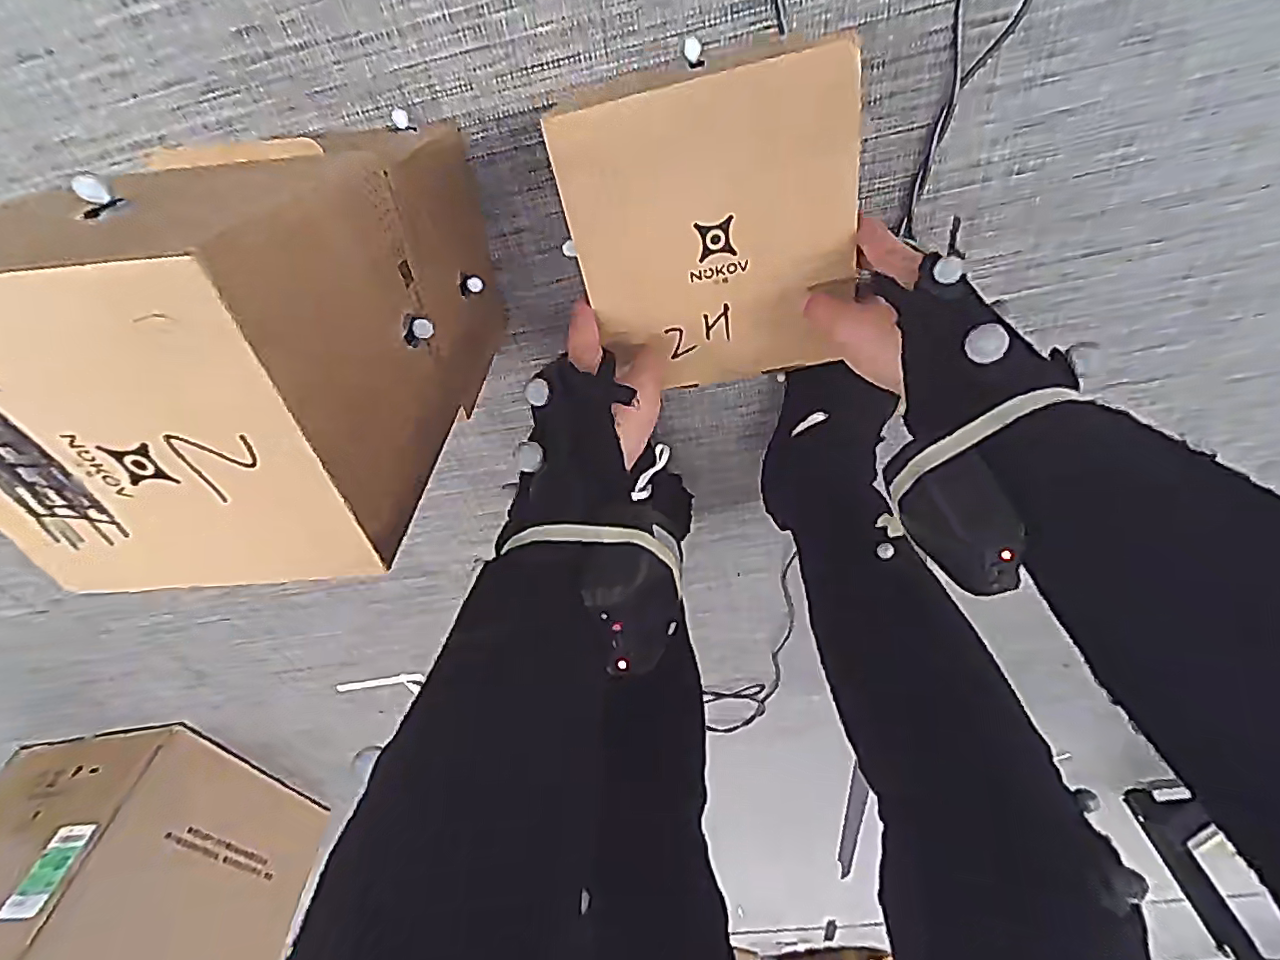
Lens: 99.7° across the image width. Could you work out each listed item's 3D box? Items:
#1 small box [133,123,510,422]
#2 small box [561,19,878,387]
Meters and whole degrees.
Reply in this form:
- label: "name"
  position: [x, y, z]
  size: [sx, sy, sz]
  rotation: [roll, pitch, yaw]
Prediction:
- label: "small box"
  position: [-0.212, -0.168, 0.427]
  size: [0.168, 0.176, 0.179]
  rotation: [-3, 131, 3]
- label: "small box"
  position: [0.053, -0.193, 0.384]
  size: [0.168, 0.176, 0.179]
  rotation: [-8, 128, 8]
